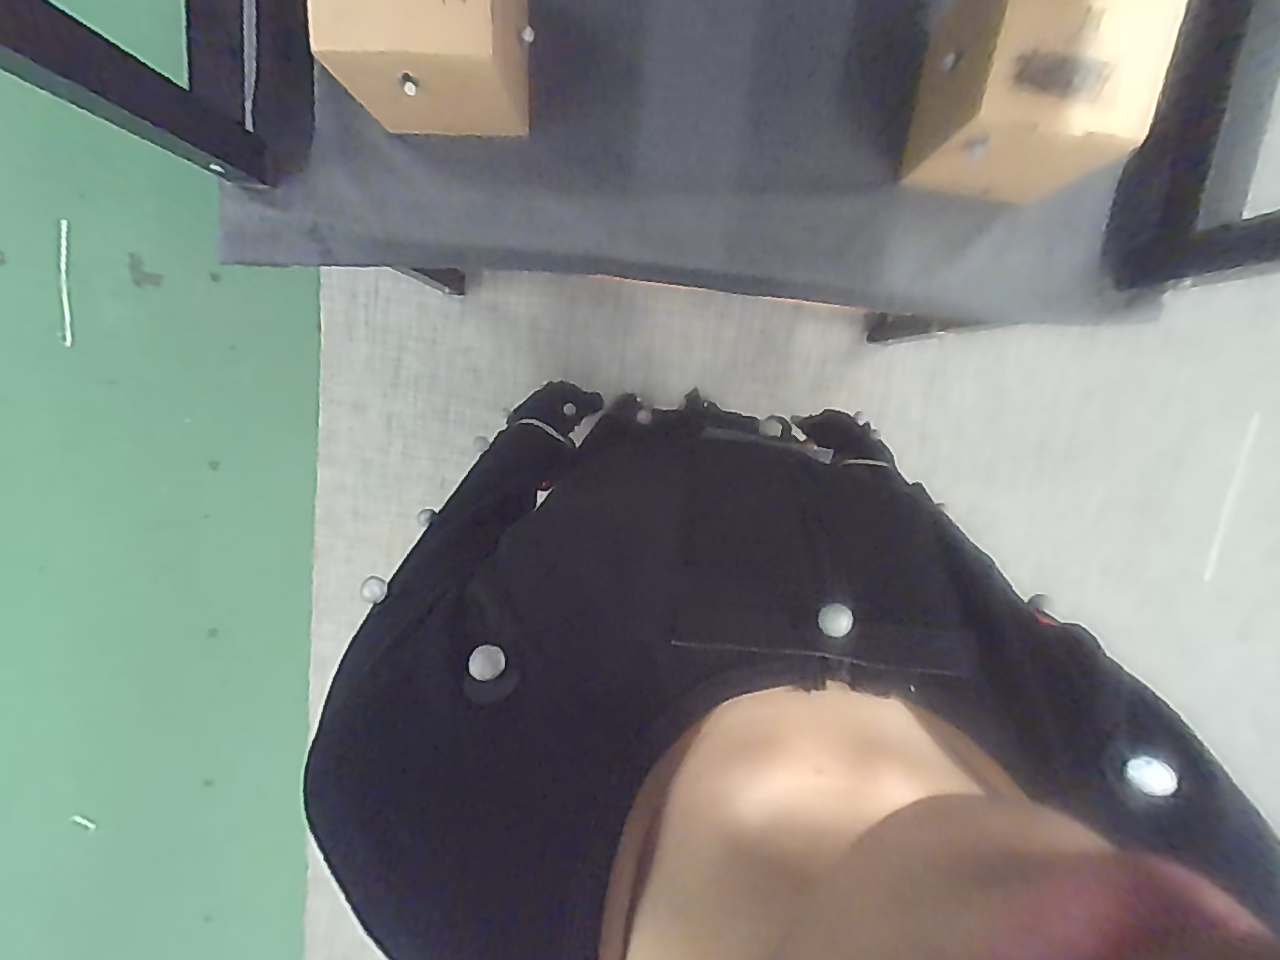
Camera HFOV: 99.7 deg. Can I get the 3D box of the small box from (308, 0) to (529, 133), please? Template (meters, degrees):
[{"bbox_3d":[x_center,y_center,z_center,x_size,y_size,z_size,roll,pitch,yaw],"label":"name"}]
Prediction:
[{"bbox_3d":[-0.223,-0.498,0.579,0.179,0.176,0.168,2,100,-1],"label":"small box"}]
